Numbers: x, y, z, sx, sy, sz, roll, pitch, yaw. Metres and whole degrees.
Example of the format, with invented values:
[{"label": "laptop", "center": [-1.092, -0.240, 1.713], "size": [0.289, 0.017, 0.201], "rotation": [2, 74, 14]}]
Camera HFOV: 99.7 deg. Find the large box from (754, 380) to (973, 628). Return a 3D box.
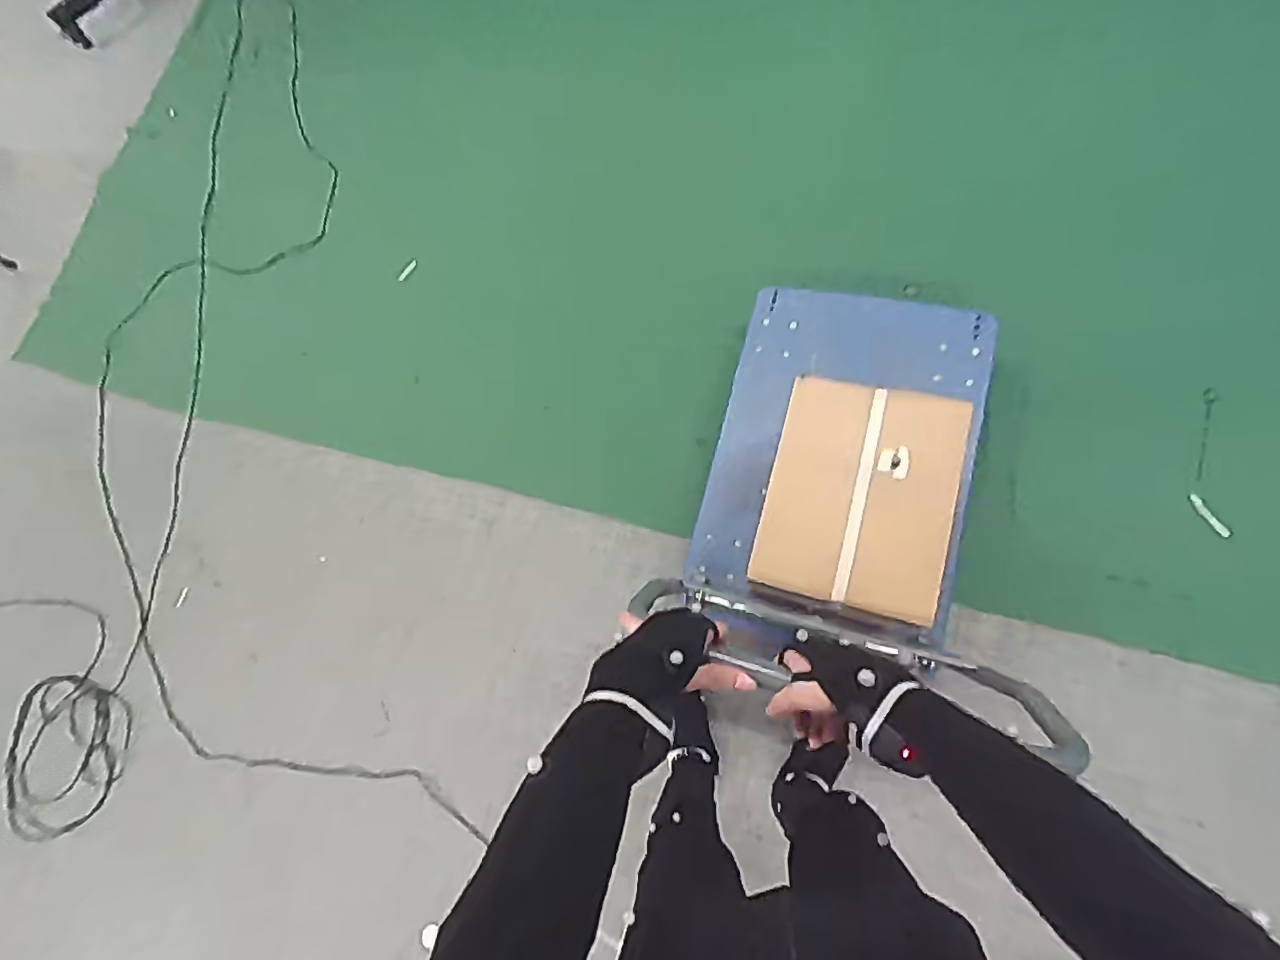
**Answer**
[{"label": "large box", "center": [0.429, 0.063, 1.097], "size": [0.320, 0.320, 0.408], "rotation": [13, 78, 16]}]
